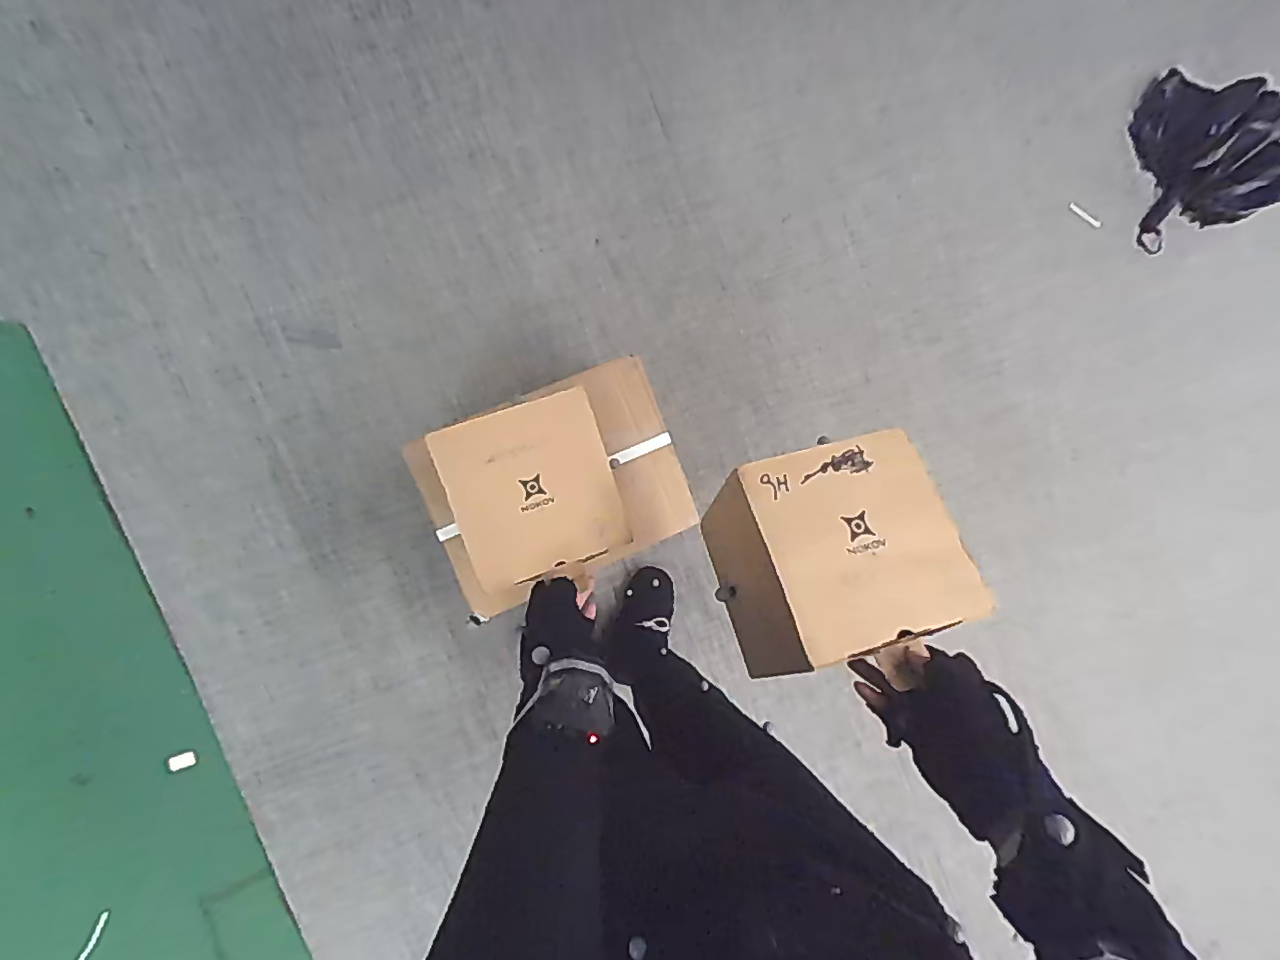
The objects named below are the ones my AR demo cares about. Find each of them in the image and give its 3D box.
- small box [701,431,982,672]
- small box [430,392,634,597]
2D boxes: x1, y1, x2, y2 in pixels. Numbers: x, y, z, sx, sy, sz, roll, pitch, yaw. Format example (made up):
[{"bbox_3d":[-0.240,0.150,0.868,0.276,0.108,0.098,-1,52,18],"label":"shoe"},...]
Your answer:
[{"bbox_3d":[0.174,0.078,0.529,0.168,0.176,0.179,-13,71,-12],"label":"small box"},{"bbox_3d":[-0.120,0.007,0.632,0.168,0.176,0.179,-20,98,-9],"label":"small box"}]
